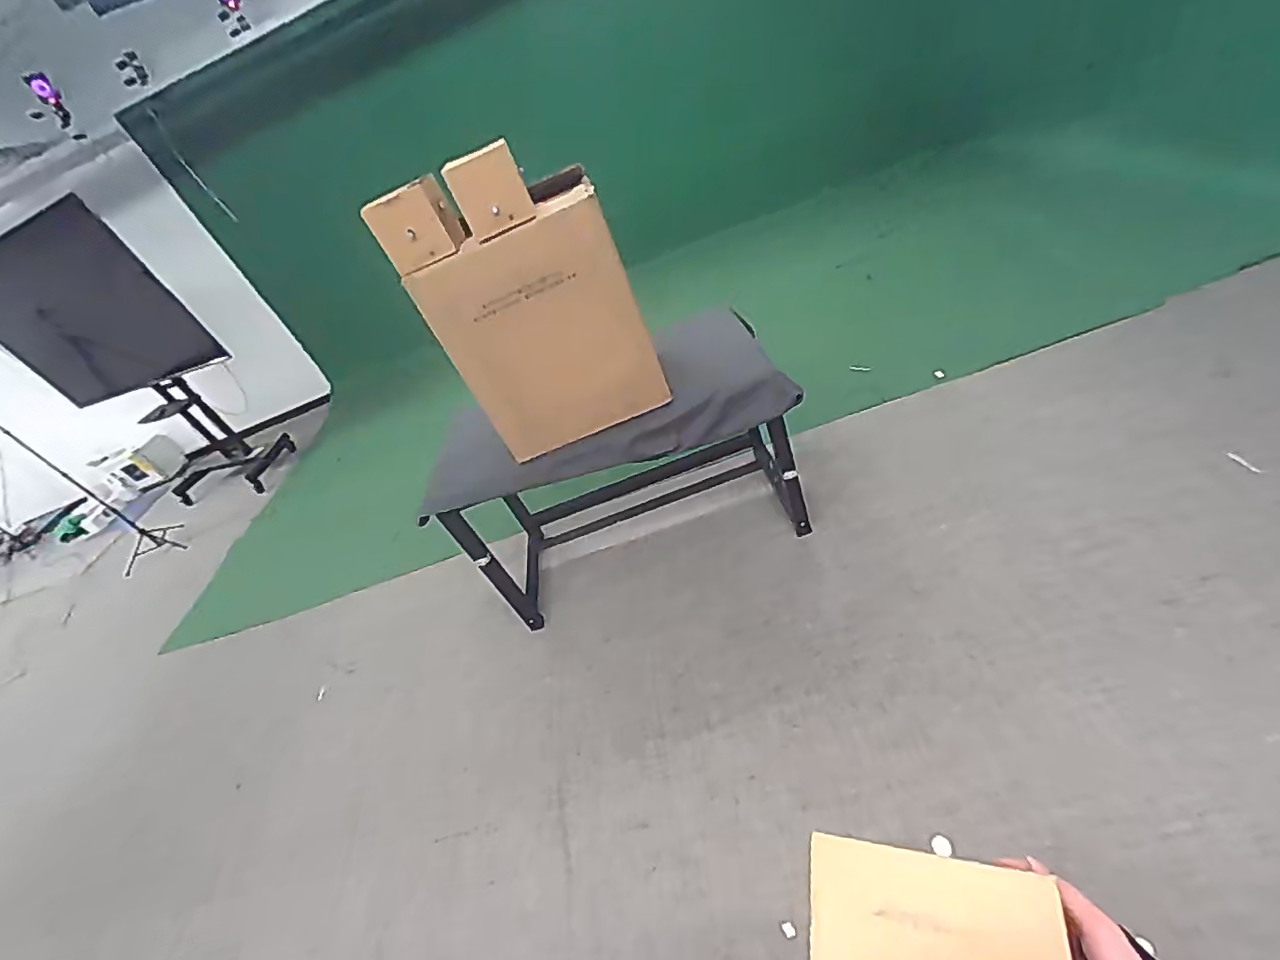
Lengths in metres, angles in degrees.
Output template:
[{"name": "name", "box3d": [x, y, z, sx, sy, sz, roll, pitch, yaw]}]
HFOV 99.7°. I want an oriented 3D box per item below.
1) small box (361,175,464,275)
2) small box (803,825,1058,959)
[{"name": "small box", "box3d": [-0.575, -0.654, 1.396, 0.168, 0.176, 0.179, -21, 37, 7]}, {"name": "small box", "box3d": [0.228, 0.397, 0.429, 0.168, 0.176, 0.179, -5, 53, 25]}]
